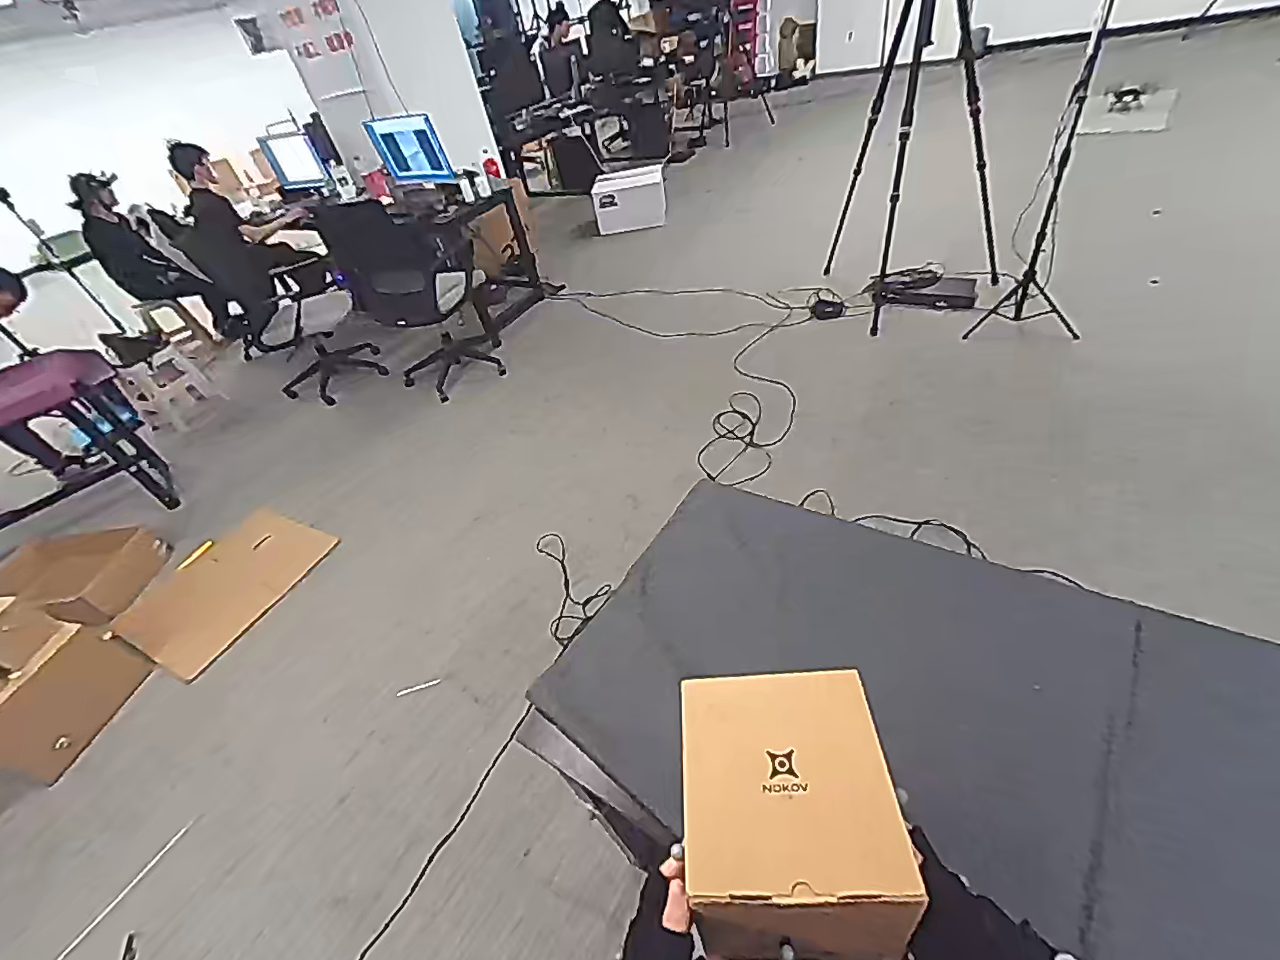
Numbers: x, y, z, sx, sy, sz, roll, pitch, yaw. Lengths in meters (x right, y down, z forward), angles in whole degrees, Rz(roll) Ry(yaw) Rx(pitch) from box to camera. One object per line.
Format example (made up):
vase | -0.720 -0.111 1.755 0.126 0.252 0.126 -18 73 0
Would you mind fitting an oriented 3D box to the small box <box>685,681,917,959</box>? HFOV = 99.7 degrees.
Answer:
small box | 0.130 0.312 0.501 0.168 0.176 0.179 -6 38 8
